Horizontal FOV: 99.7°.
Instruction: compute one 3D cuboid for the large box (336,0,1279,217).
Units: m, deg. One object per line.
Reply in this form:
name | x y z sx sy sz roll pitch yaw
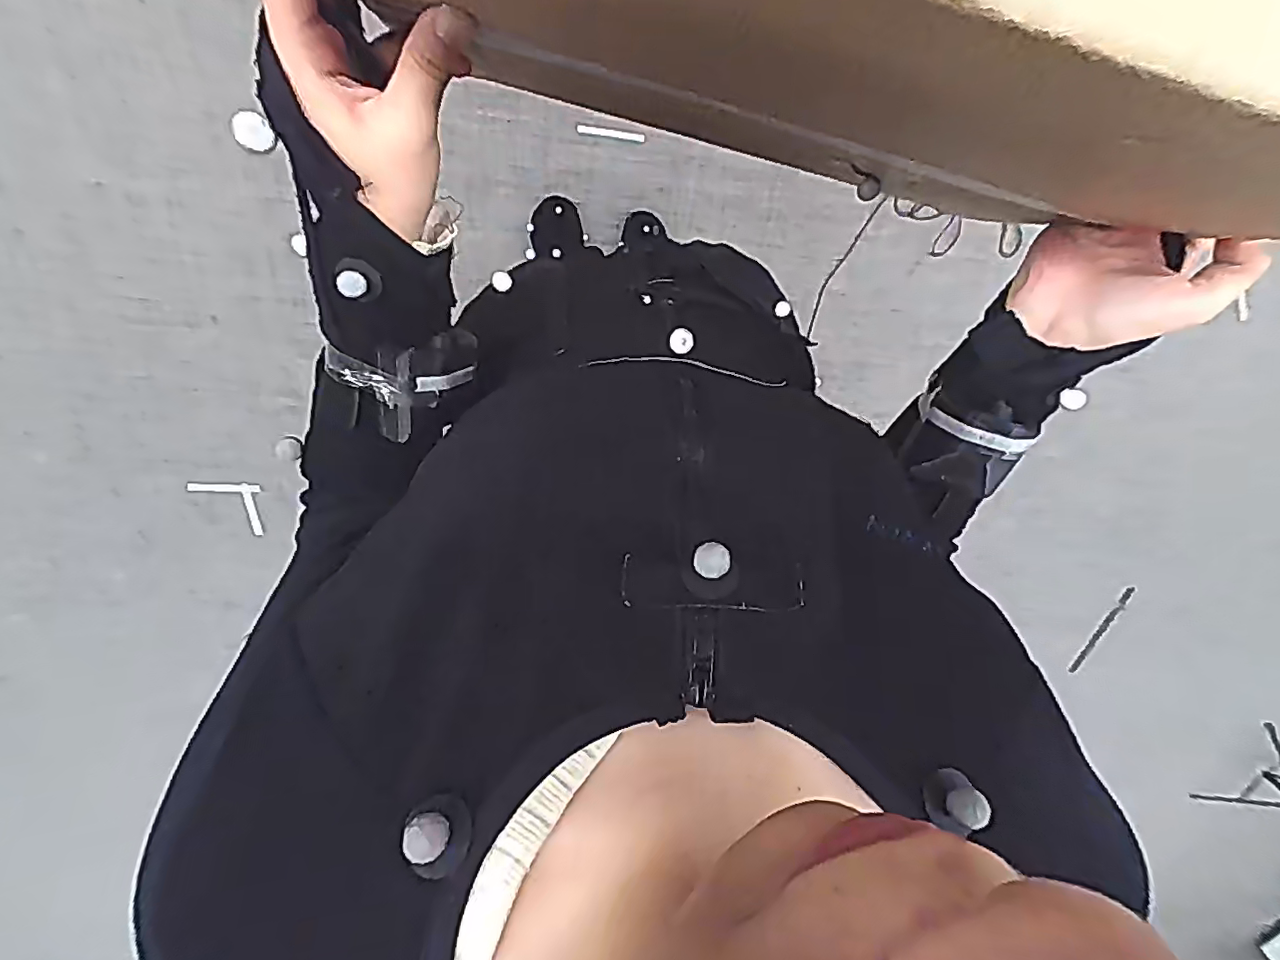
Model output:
large box | 0.093 -0.304 0.180 0.408 0.320 0.320 8 118 -9
